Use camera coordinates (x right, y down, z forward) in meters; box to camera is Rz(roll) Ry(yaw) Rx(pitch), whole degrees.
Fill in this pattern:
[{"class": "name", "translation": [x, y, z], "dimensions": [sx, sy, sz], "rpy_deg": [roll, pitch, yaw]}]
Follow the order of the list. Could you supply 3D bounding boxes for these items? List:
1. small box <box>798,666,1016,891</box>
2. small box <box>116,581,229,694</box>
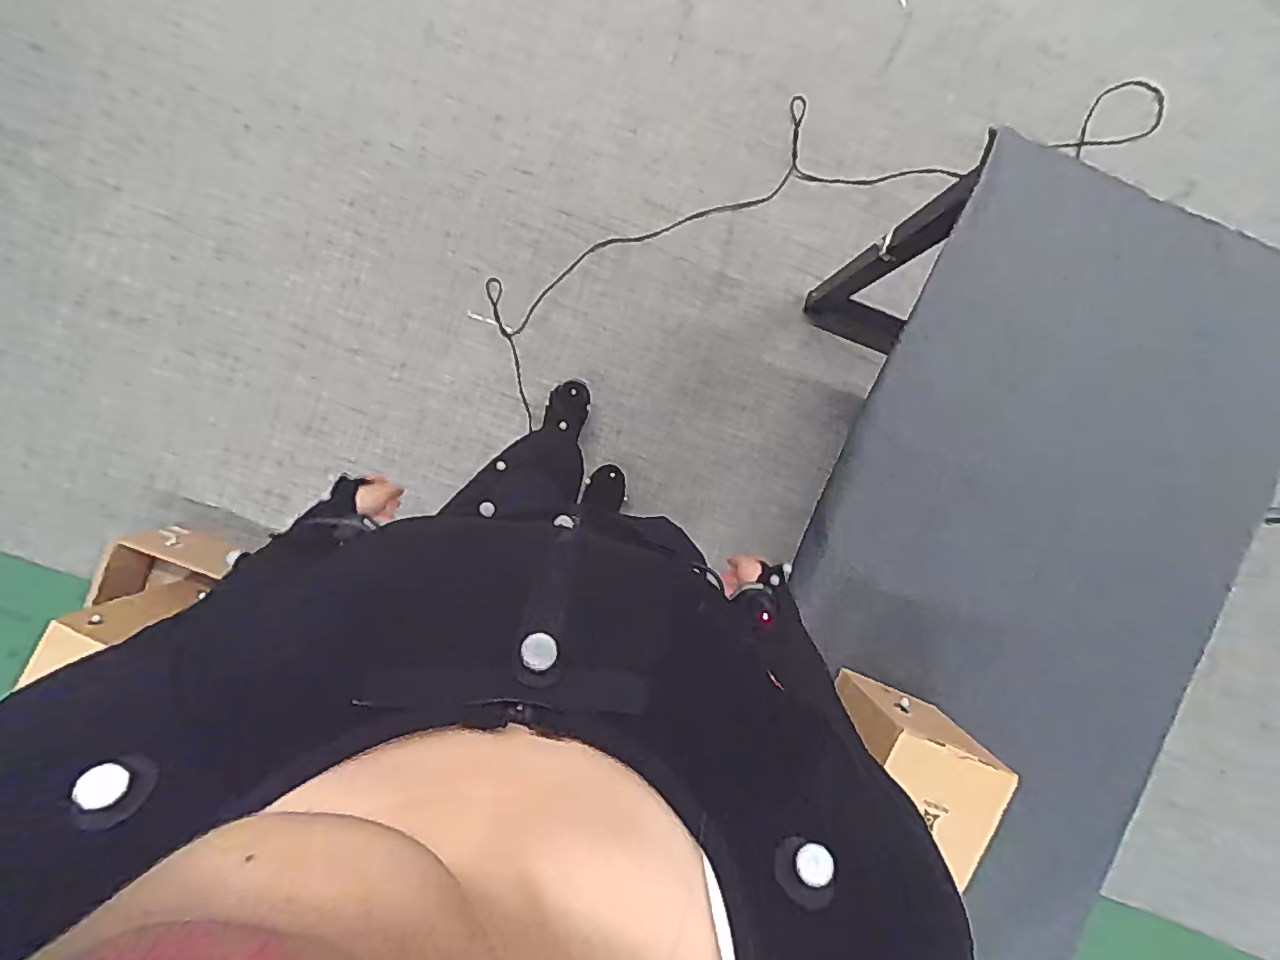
[{"class": "small box", "translation": [0.336, 0.379, 0.719], "dimensions": [0.168, 0.176, 0.179], "rpy_deg": [24, 93, -6]}, {"class": "small box", "translation": [-1.146, 0.370, 1.300], "dimensions": [0.168, 0.176, 0.179], "rpy_deg": [29, 90, -6]}]
